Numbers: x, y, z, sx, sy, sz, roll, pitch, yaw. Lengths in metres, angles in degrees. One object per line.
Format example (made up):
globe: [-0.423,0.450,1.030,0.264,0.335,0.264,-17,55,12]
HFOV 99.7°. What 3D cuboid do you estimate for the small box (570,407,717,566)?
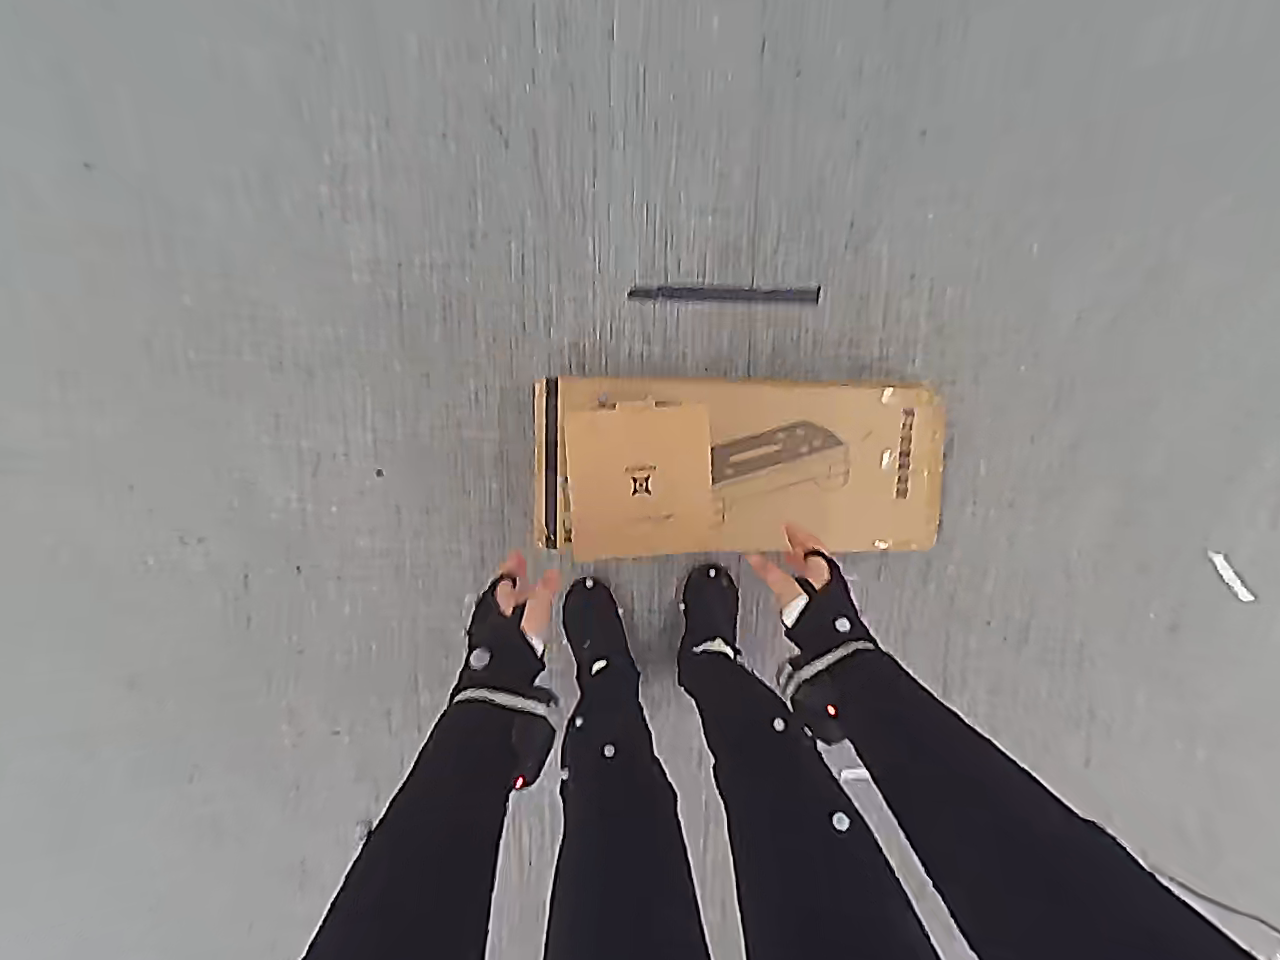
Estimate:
small box: [-0.001,0.000,0.699,0.168,0.176,0.179,-4,98,-3]
